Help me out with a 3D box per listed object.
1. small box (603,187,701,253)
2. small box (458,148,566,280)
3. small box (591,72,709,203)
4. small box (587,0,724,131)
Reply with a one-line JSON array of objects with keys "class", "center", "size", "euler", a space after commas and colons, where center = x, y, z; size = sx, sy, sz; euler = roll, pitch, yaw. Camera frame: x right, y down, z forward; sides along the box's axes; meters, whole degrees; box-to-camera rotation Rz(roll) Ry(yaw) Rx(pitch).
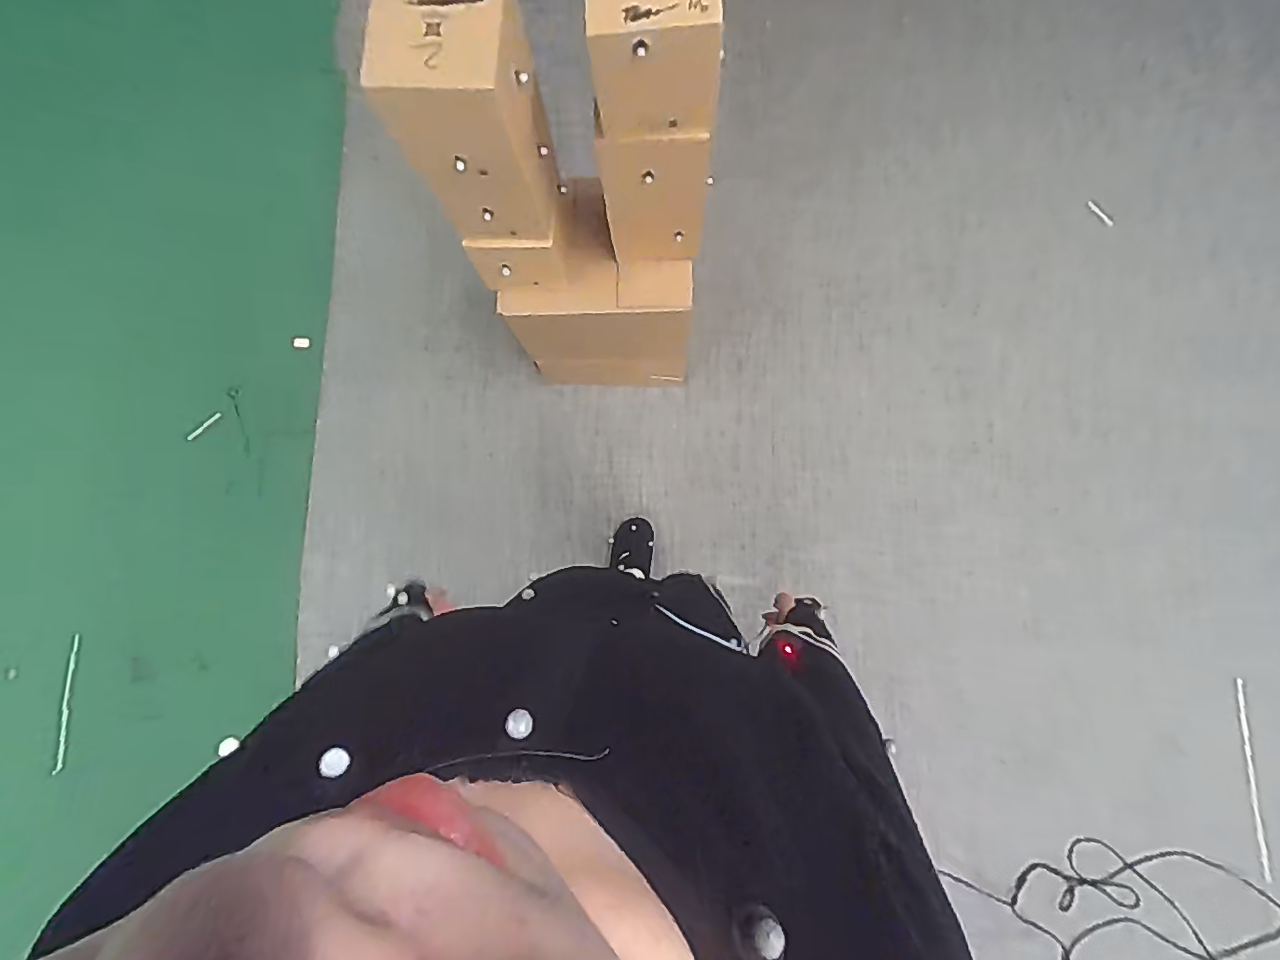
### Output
[{"class": "small box", "center": [0.024, -0.561, 1.050], "size": [0.179, 0.176, 0.168], "euler": [-1, 83, 3]}, {"class": "small box", "center": [-0.240, -0.507, 1.051], "size": [0.168, 0.176, 0.179], "euler": [2, 83, 1]}, {"class": "small box", "center": [0.020, -0.580, 0.888], "size": [0.179, 0.176, 0.168], "euler": [0, 83, 4]}, {"class": "small box", "center": [0.020, -0.612, 0.726], "size": [0.168, 0.176, 0.179], "euler": [-2, 82, 3]}]
